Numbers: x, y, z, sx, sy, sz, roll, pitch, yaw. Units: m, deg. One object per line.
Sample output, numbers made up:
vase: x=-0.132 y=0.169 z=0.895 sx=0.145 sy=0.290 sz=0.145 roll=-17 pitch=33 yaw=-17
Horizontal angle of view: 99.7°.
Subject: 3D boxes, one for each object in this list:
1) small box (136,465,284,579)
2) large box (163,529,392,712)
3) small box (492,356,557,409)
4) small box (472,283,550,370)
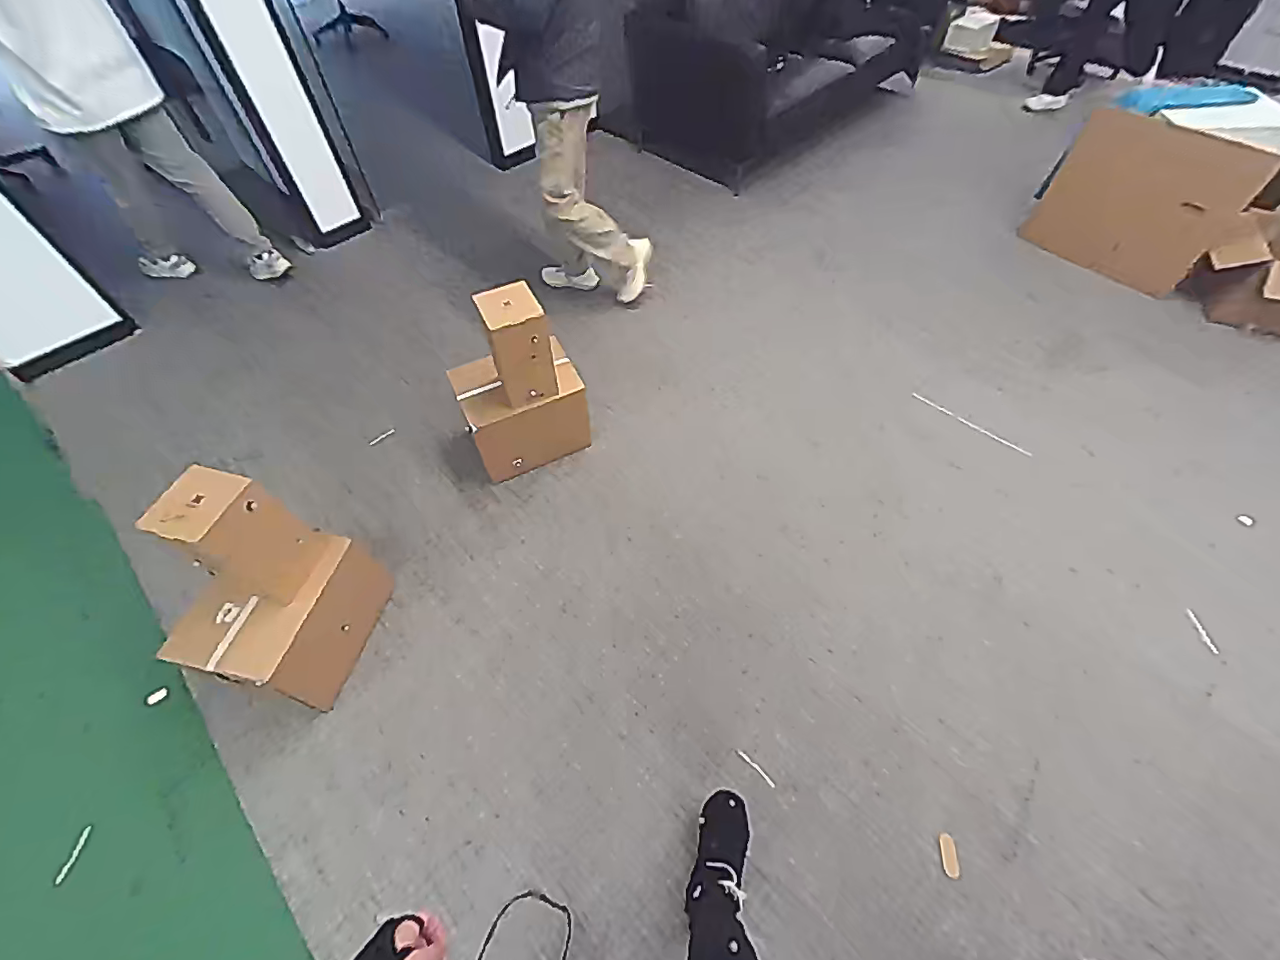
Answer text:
small box: x=-0.962 y=0.098 z=1.236 sx=0.168 sy=0.176 sz=0.179 roll=13 pitch=56 yaw=11
large box: x=-0.980 y=0.391 z=1.531 sx=0.320 sy=0.320 sz=0.408 roll=8 pitch=56 yaw=9
small box: x=-0.380 y=-0.364 z=1.761 sx=0.168 sy=0.176 sz=0.179 roll=-21 pitch=58 yaw=-13
small box: x=-0.381 y=-0.453 z=1.624 sx=0.168 sy=0.176 sz=0.179 roll=-22 pitch=57 yaw=-15
